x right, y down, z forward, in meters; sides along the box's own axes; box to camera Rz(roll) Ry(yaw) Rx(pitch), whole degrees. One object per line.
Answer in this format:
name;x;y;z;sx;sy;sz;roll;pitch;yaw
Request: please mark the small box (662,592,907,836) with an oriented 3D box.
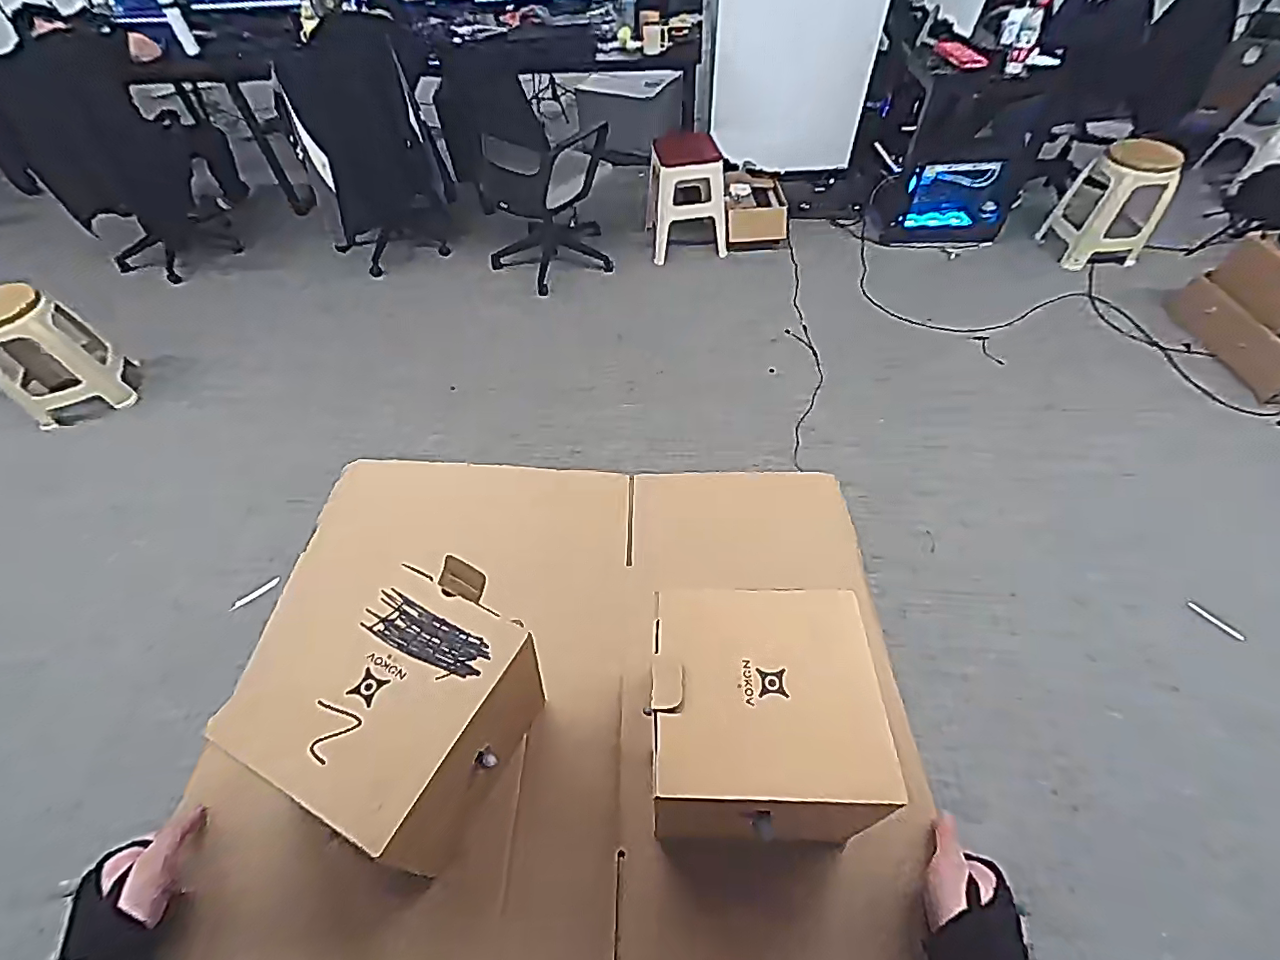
small box;0.109;0.217;0.498;0.179;0.176;0.168;-1;49;3
